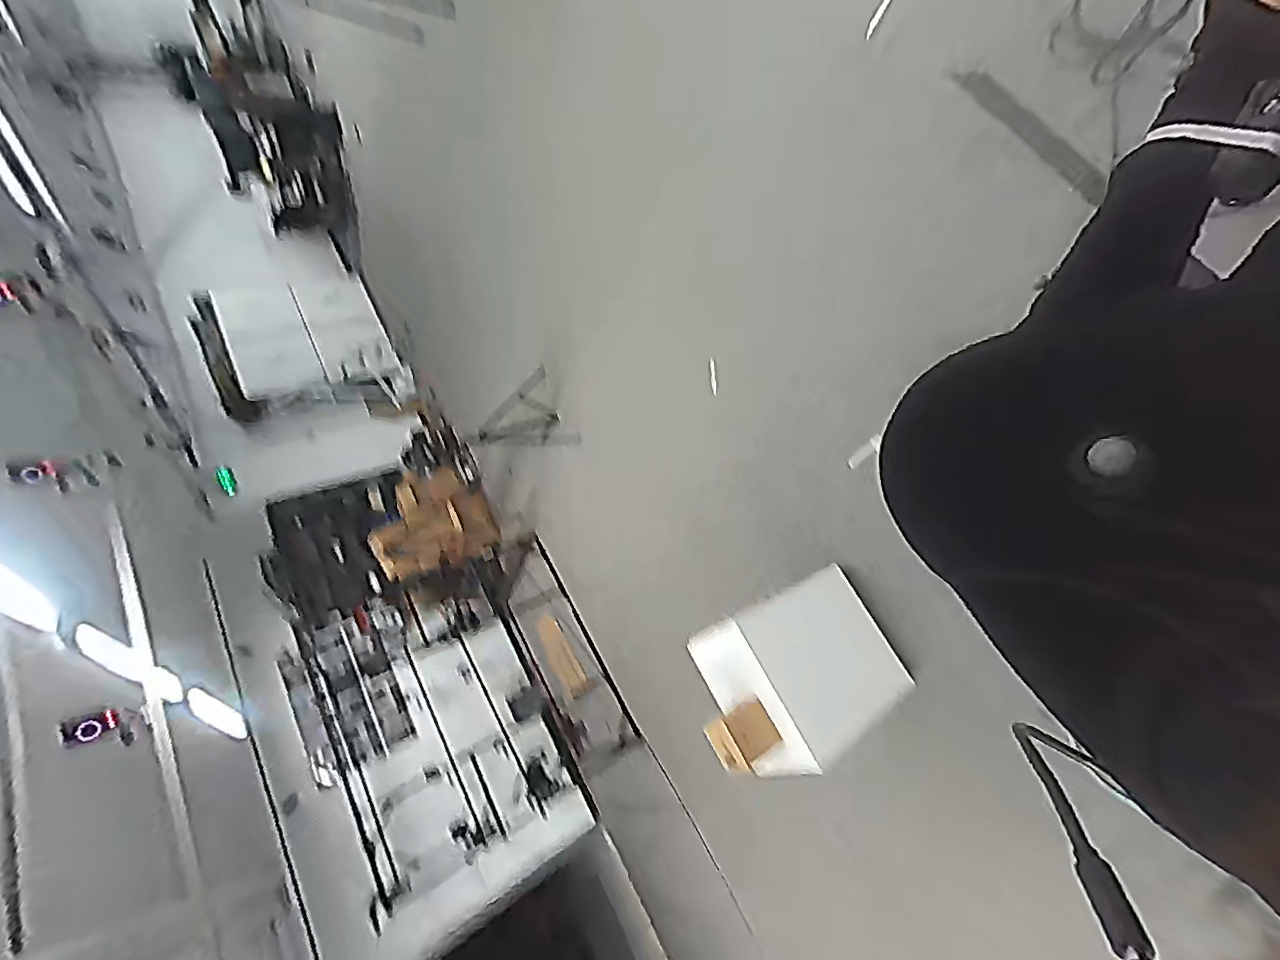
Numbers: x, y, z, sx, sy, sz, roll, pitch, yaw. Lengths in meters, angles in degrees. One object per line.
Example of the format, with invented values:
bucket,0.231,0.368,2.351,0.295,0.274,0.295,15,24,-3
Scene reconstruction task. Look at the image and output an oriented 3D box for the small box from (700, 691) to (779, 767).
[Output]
small box,0.345,0.859,1.867,0.179,0.176,0.168,60,147,18
